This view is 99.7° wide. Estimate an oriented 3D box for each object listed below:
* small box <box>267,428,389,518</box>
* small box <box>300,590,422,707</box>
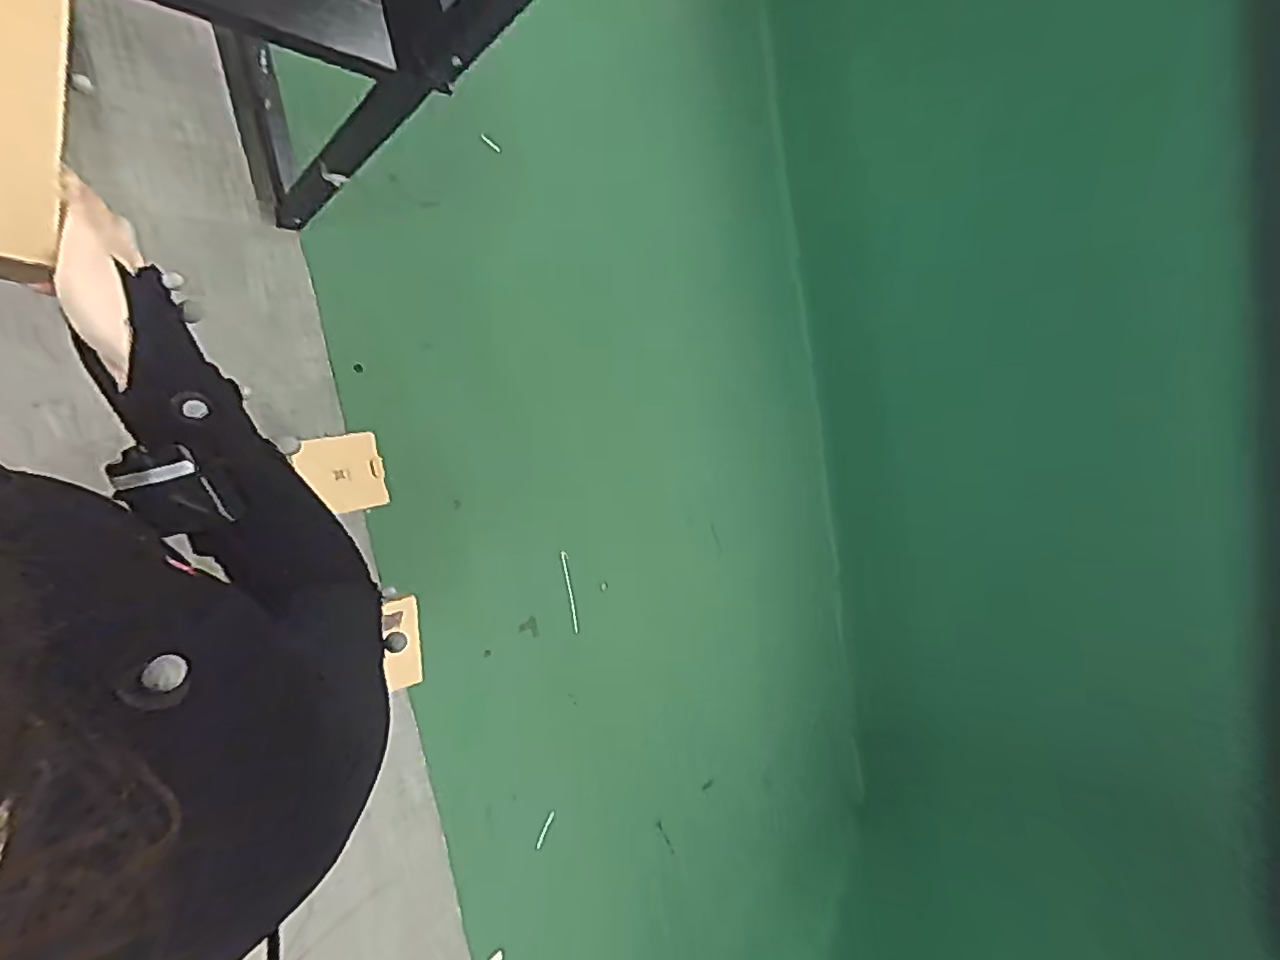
[{"bbox_3d":[-0.691,-0.015,1.191,0.179,0.176,0.168,-19,101,-49],"label":"small box"},{"bbox_3d":[-0.555,0.320,1.072,0.168,0.176,0.179,-4,91,-48],"label":"small box"}]
